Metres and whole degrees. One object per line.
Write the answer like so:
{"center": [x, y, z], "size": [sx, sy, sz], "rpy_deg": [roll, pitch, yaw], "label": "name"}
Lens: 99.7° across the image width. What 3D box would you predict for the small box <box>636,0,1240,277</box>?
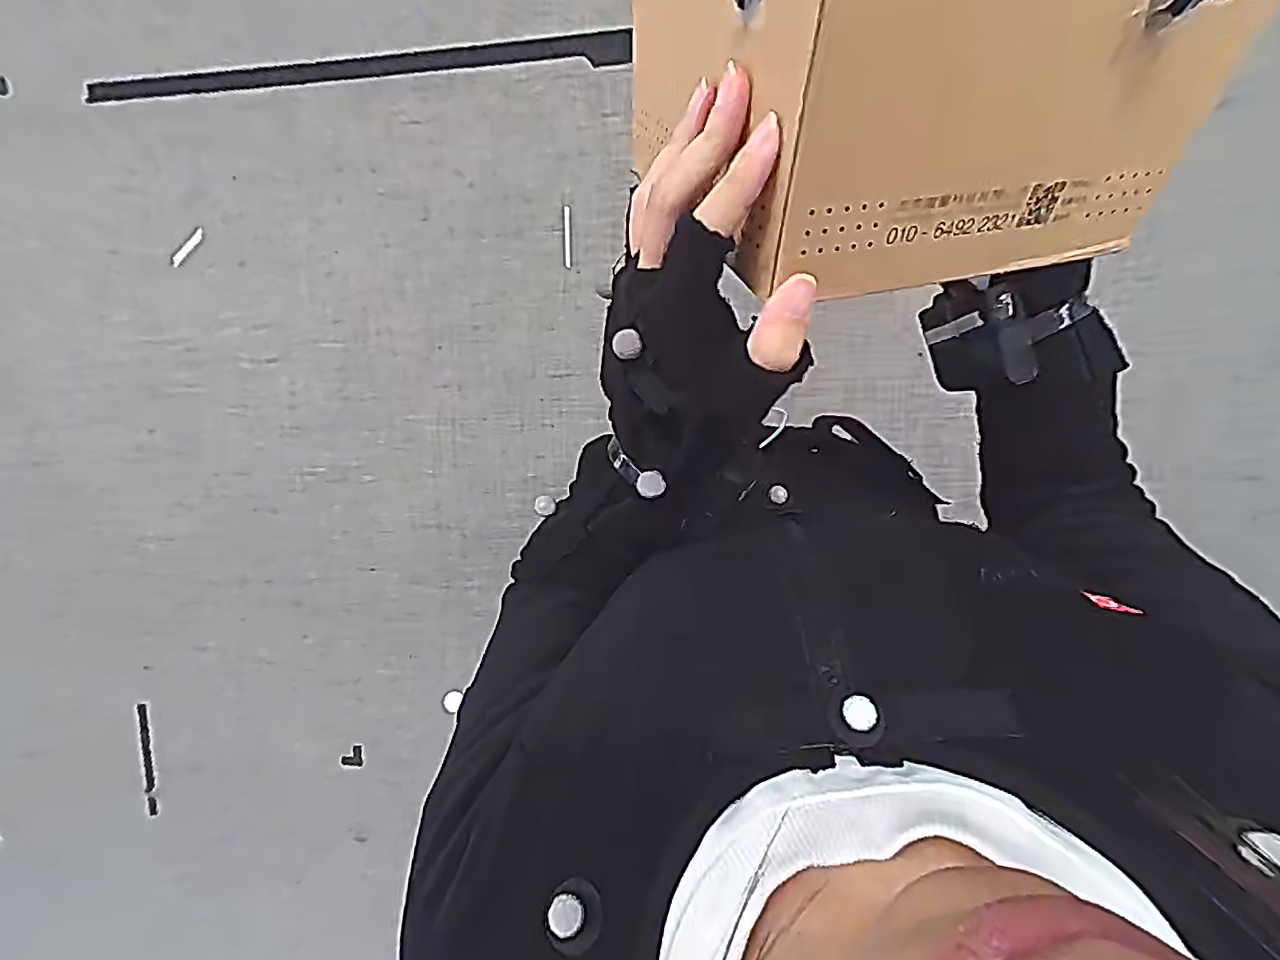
{"center": [0.098, -0.193, 0.215], "size": [0.168, 0.179, 0.176], "rpy_deg": [-11, 137, -11], "label": "small box"}
